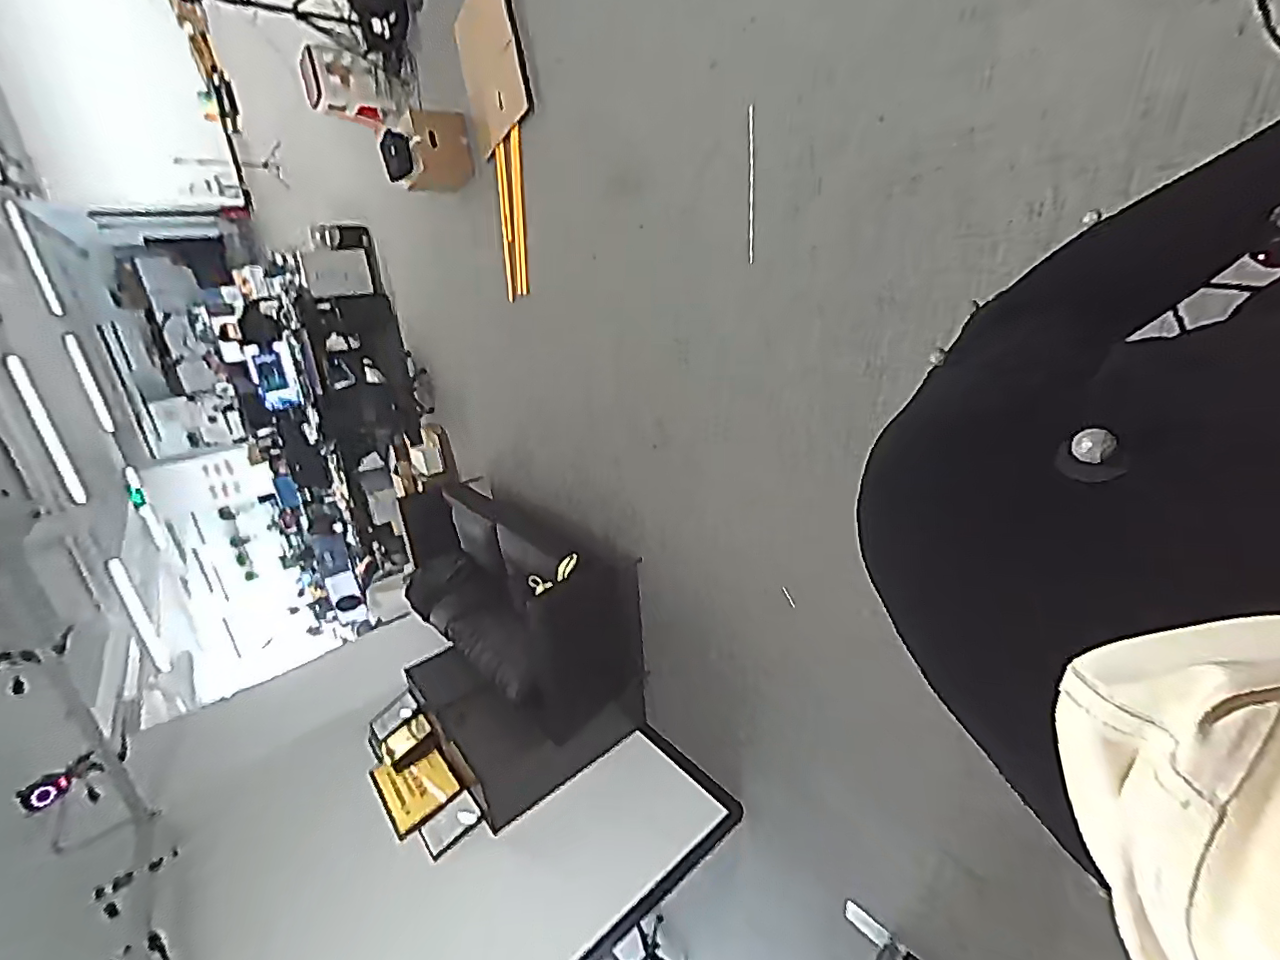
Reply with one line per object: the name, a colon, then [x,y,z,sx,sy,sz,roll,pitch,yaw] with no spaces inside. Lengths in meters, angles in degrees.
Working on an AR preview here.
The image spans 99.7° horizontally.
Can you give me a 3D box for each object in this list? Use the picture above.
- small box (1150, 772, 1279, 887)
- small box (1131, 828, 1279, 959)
small box: [1.027,0.654,0.932,0.168,0.176,0.179,21,123,46]
small box: [0.904,0.699,0.835,0.168,0.176,0.179,20,121,46]
